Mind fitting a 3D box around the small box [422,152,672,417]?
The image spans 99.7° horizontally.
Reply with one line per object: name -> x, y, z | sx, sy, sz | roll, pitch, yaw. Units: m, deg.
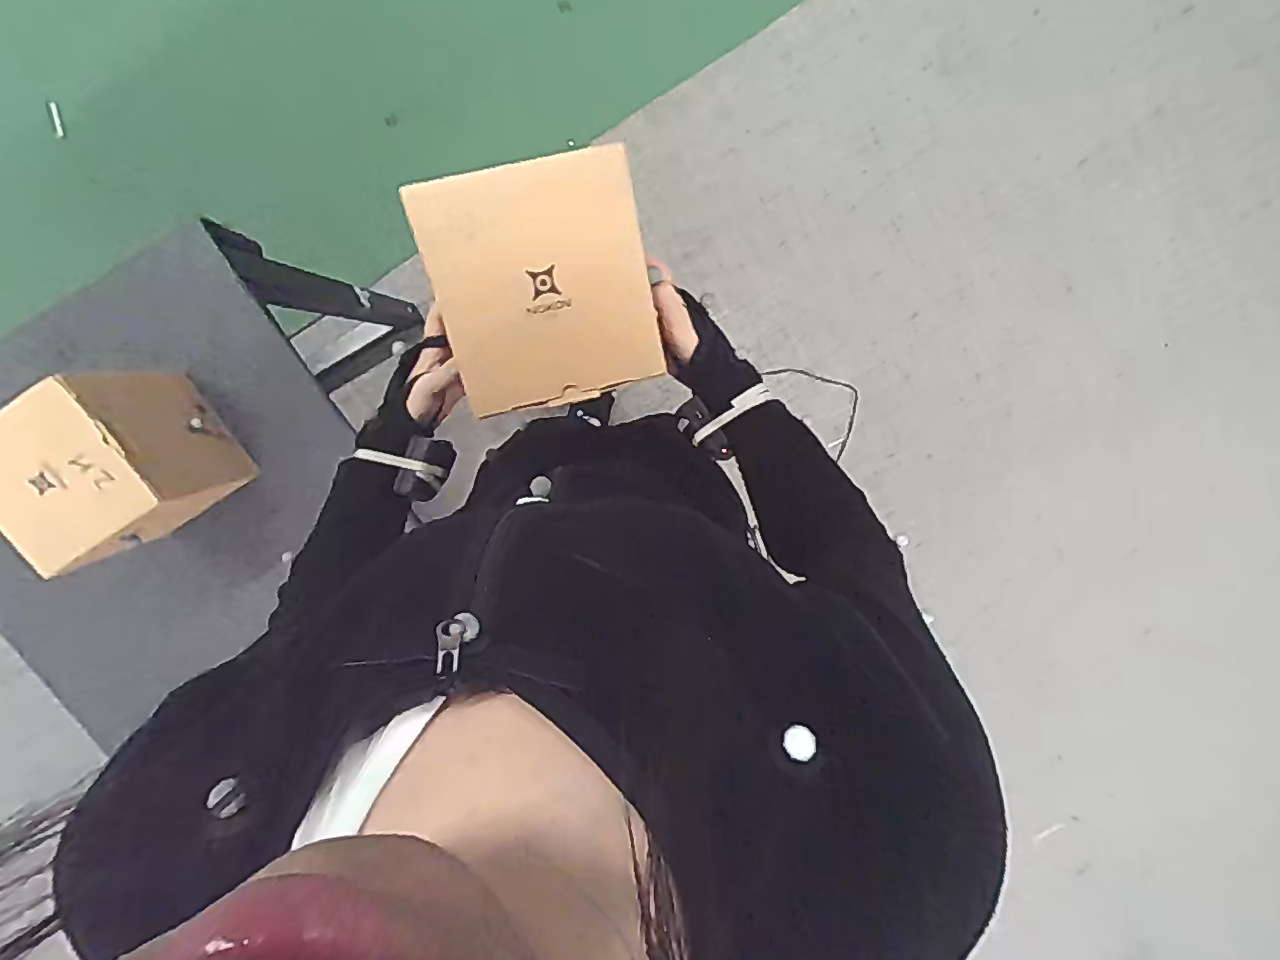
small box -> -0.078, -0.175, 0.502 | 0.168, 0.176, 0.179 | -14, 112, -3
